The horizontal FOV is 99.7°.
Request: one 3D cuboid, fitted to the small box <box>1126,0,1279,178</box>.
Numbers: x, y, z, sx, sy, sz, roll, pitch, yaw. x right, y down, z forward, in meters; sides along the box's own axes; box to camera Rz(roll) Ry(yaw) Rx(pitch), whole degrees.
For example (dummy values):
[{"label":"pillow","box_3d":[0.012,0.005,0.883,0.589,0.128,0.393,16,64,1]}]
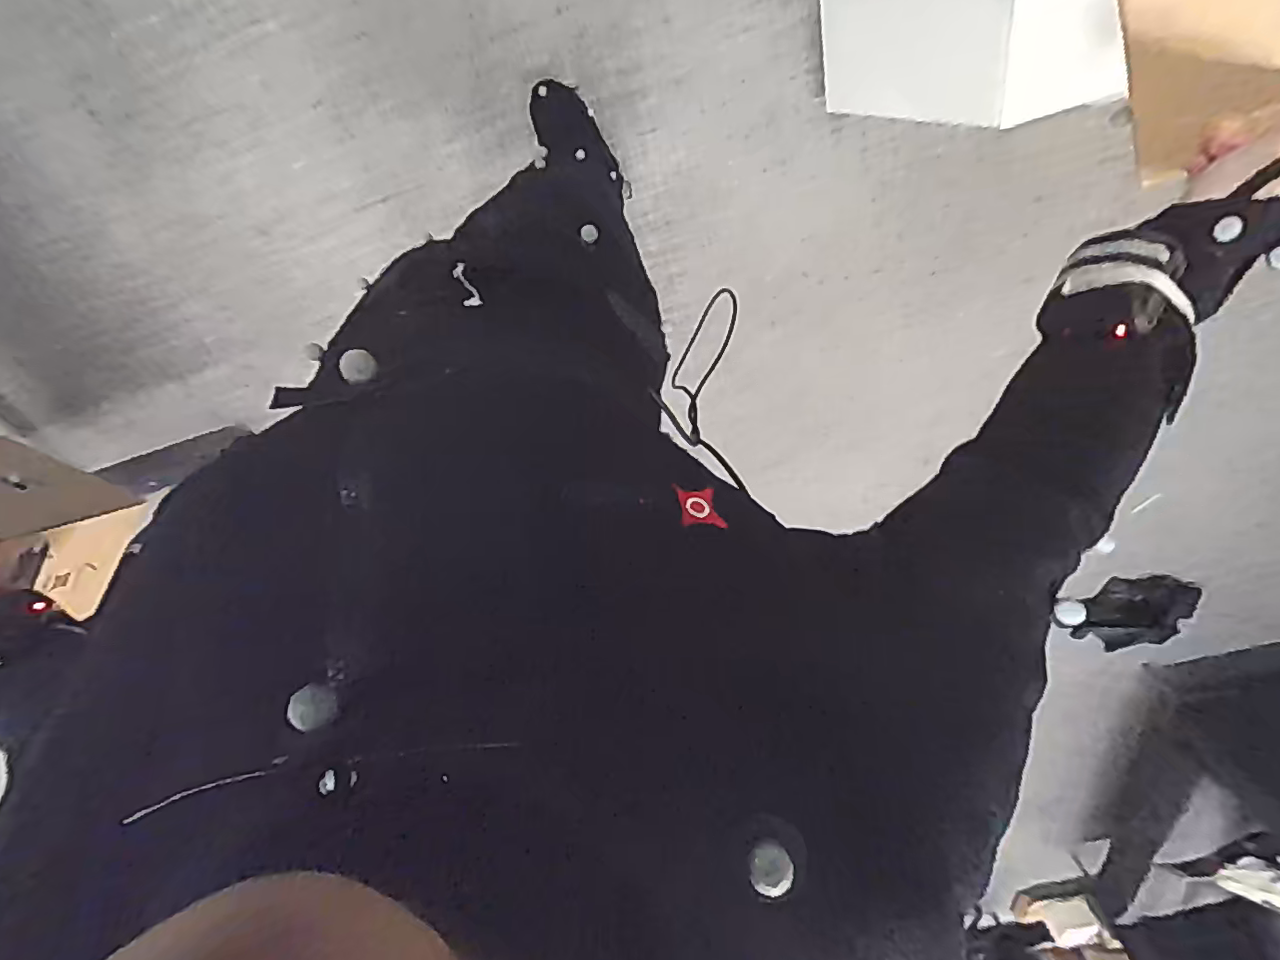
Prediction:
[{"label":"small box","box_3d":[0.471,-0.363,0.390,0.168,0.179,0.176,-3,127,48]}]
